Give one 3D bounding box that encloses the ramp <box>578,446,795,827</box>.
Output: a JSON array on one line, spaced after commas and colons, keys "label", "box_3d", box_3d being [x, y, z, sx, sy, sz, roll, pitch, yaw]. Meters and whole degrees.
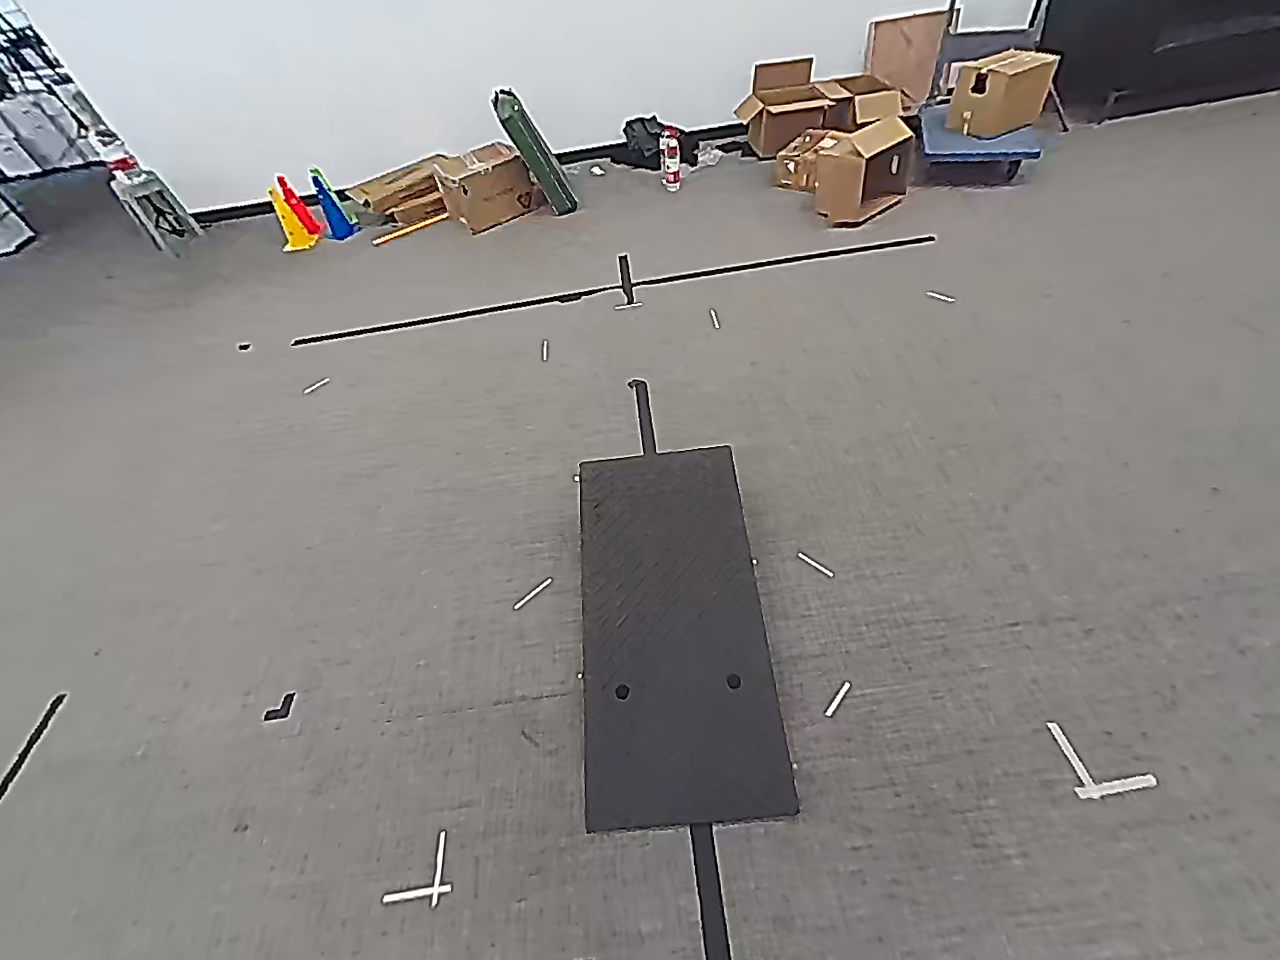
[{"label": "ramp", "box_3d": [0.080, 0.346, 1.487, 0.509, 0.206, 0.991, -7, 49, 1]}]
